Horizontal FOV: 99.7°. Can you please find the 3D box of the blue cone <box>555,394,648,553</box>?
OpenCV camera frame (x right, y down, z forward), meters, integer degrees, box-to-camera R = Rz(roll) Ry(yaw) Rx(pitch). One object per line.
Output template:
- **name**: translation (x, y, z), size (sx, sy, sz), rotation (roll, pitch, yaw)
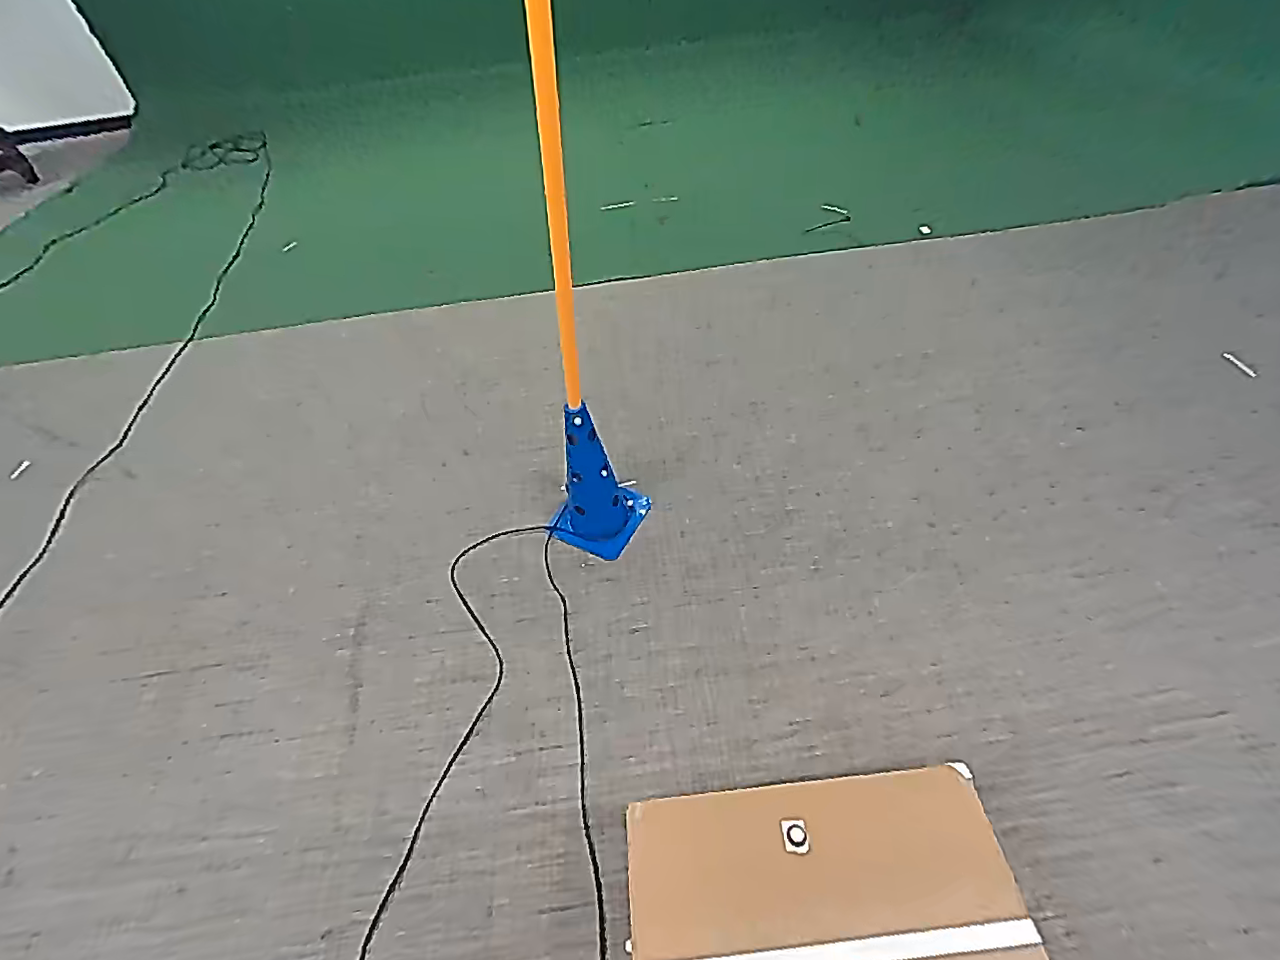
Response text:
- **blue cone**: translation (-0.104, -0.030, 1.165), size (0.192, 0.380, 0.193), rotation (18, 52, 20)
